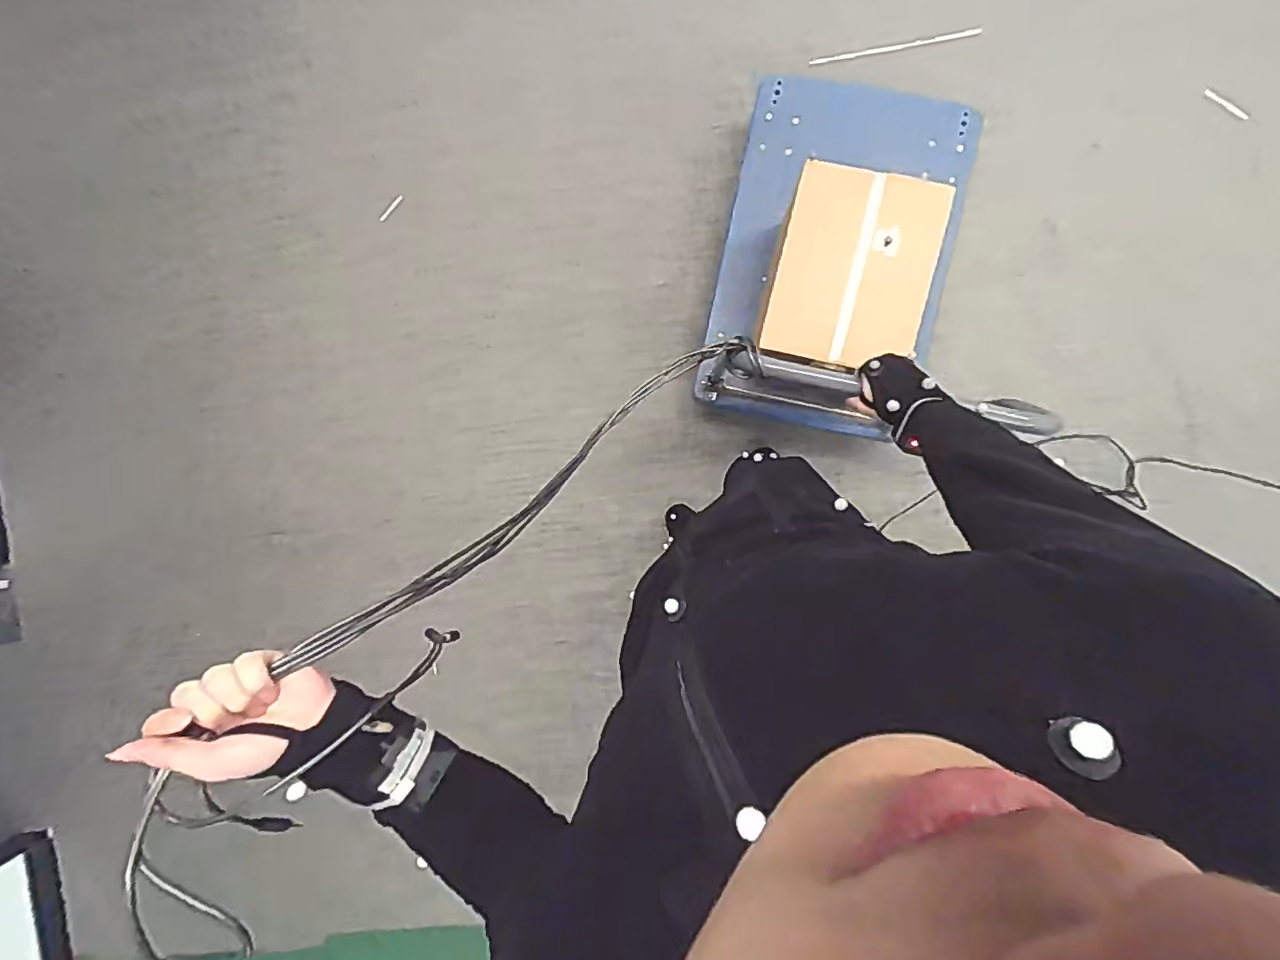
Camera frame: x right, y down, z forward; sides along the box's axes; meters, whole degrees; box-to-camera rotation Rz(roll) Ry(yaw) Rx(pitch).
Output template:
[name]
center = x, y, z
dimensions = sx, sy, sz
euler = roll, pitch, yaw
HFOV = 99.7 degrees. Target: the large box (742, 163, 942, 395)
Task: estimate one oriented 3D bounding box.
[large box]
center = 0.448, -0.443, 1.283
dimensions = 0.320, 0.320, 0.408
euler = 14, 92, 3
